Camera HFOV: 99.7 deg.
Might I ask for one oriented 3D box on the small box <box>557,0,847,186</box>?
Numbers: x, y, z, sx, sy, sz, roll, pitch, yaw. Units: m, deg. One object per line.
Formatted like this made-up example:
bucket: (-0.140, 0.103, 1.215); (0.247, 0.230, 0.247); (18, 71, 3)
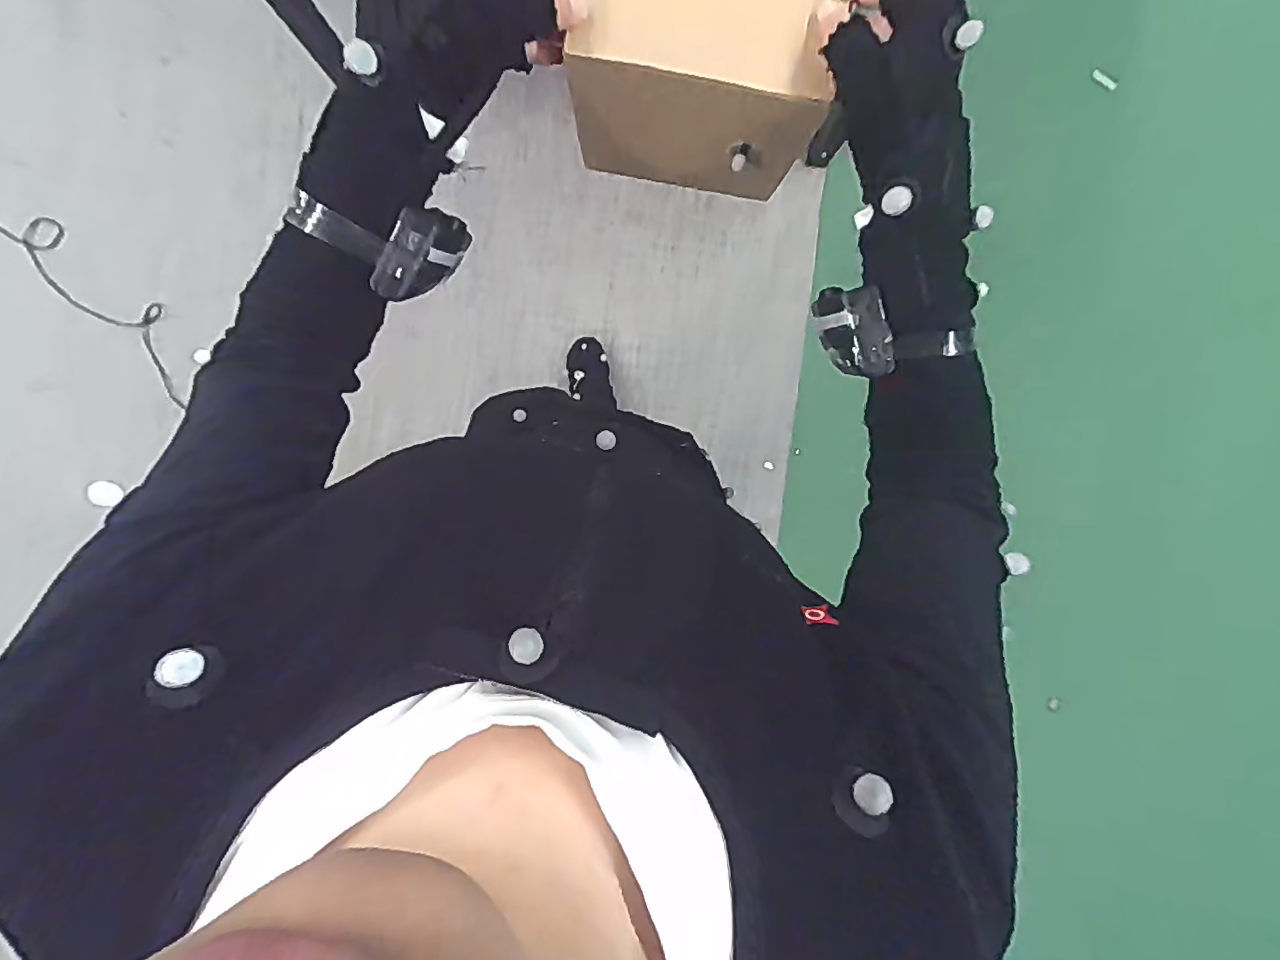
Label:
small box: (0.046, -0.347, 0.408); (0.179, 0.176, 0.168); (9, 96, 0)
